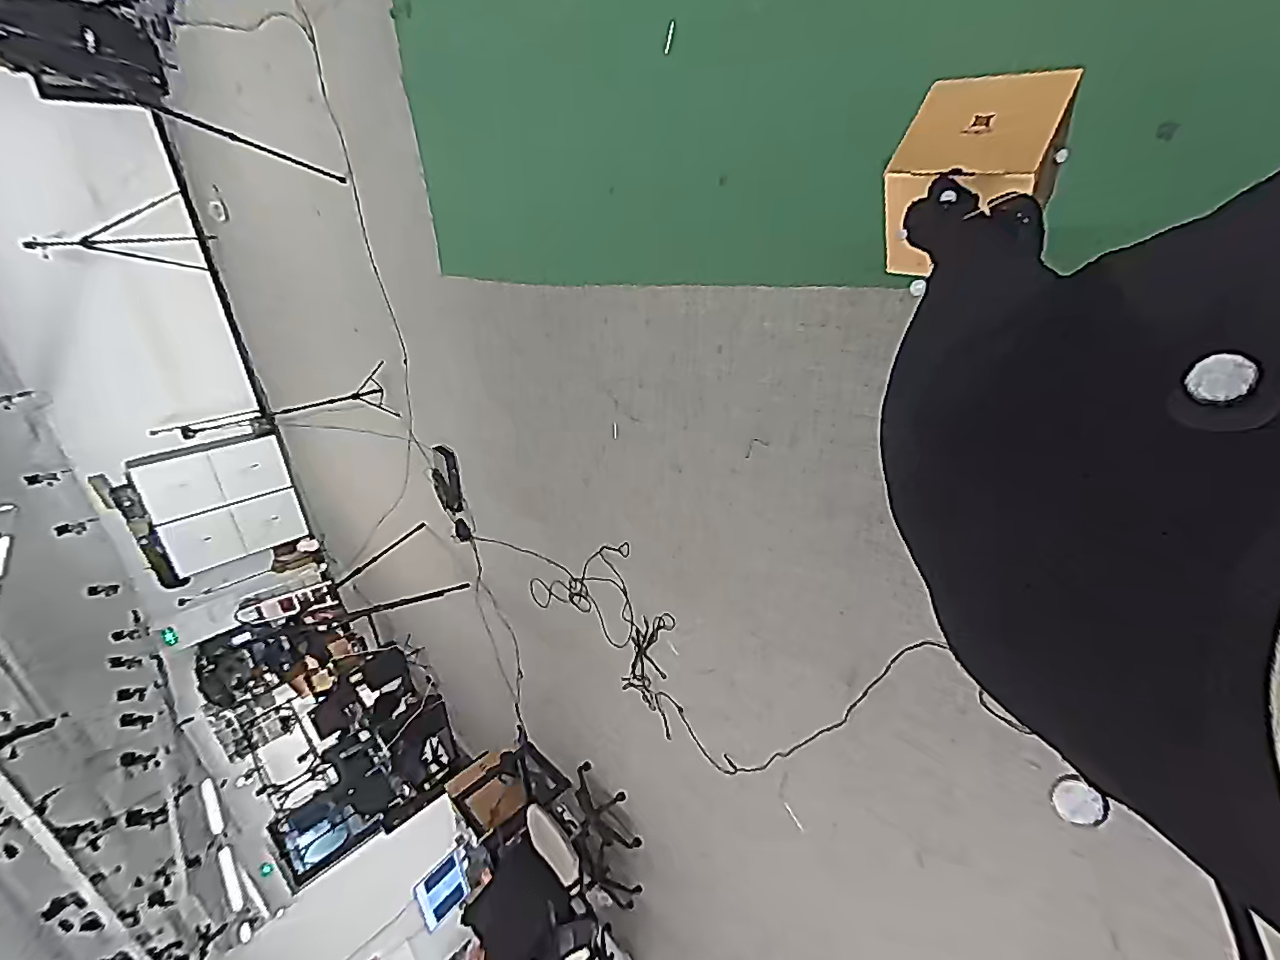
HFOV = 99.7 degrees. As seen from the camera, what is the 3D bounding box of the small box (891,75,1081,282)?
[{"bbox_3d":[0.455,-0.402,0.735,0.168,0.179,0.176,21,164,33],"label":"small box"}]
